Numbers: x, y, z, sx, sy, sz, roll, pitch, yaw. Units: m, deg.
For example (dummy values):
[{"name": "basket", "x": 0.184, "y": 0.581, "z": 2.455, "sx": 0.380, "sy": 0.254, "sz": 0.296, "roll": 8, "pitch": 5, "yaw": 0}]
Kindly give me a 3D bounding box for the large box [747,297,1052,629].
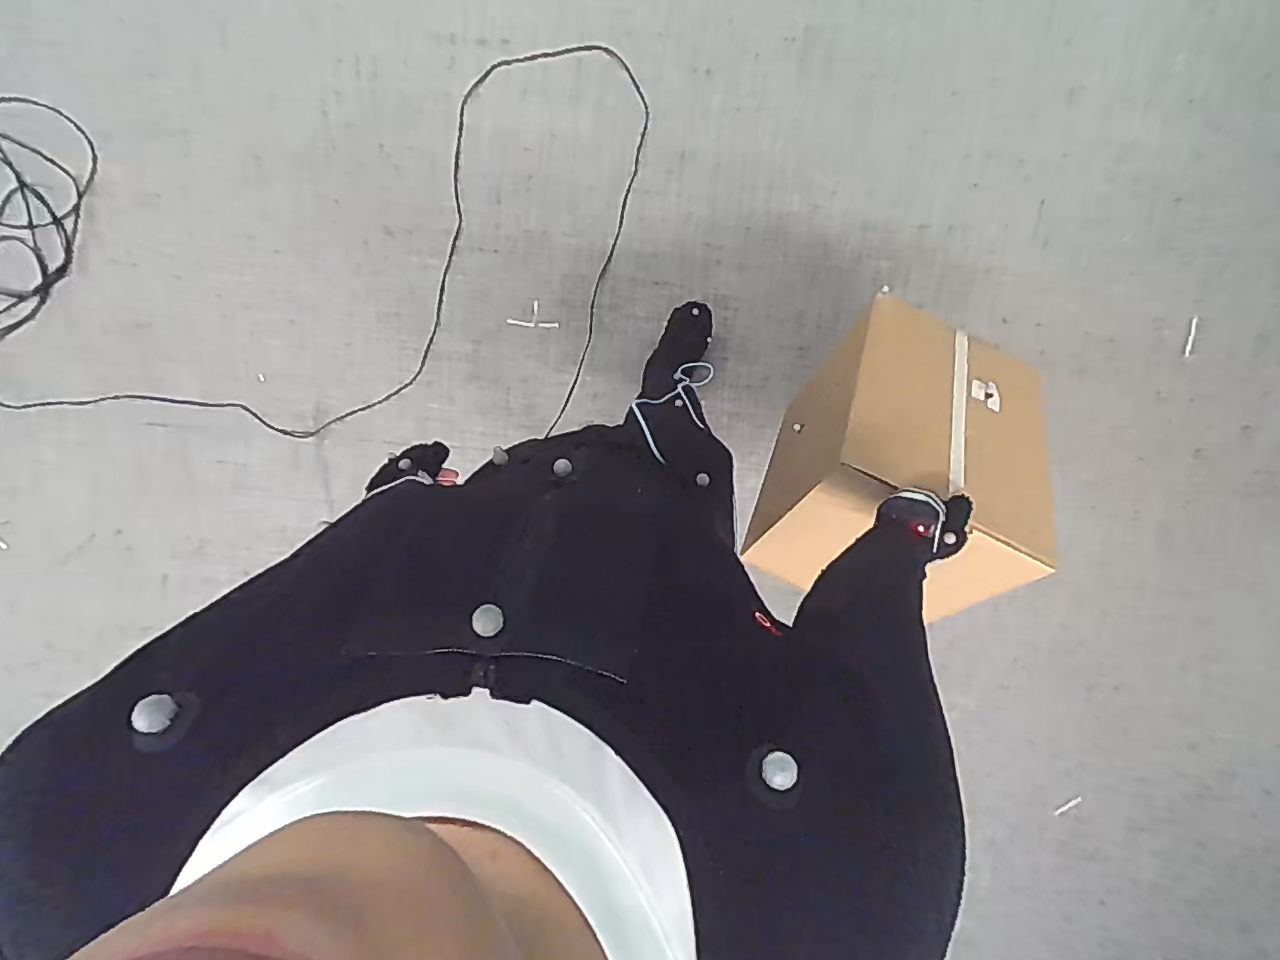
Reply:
[{"name": "large box", "x": 0.420, "y": -0.022, "z": 0.924, "sx": 0.320, "sy": 0.320, "sz": 0.408, "roll": 27, "pitch": 55, "yaw": -1}]
